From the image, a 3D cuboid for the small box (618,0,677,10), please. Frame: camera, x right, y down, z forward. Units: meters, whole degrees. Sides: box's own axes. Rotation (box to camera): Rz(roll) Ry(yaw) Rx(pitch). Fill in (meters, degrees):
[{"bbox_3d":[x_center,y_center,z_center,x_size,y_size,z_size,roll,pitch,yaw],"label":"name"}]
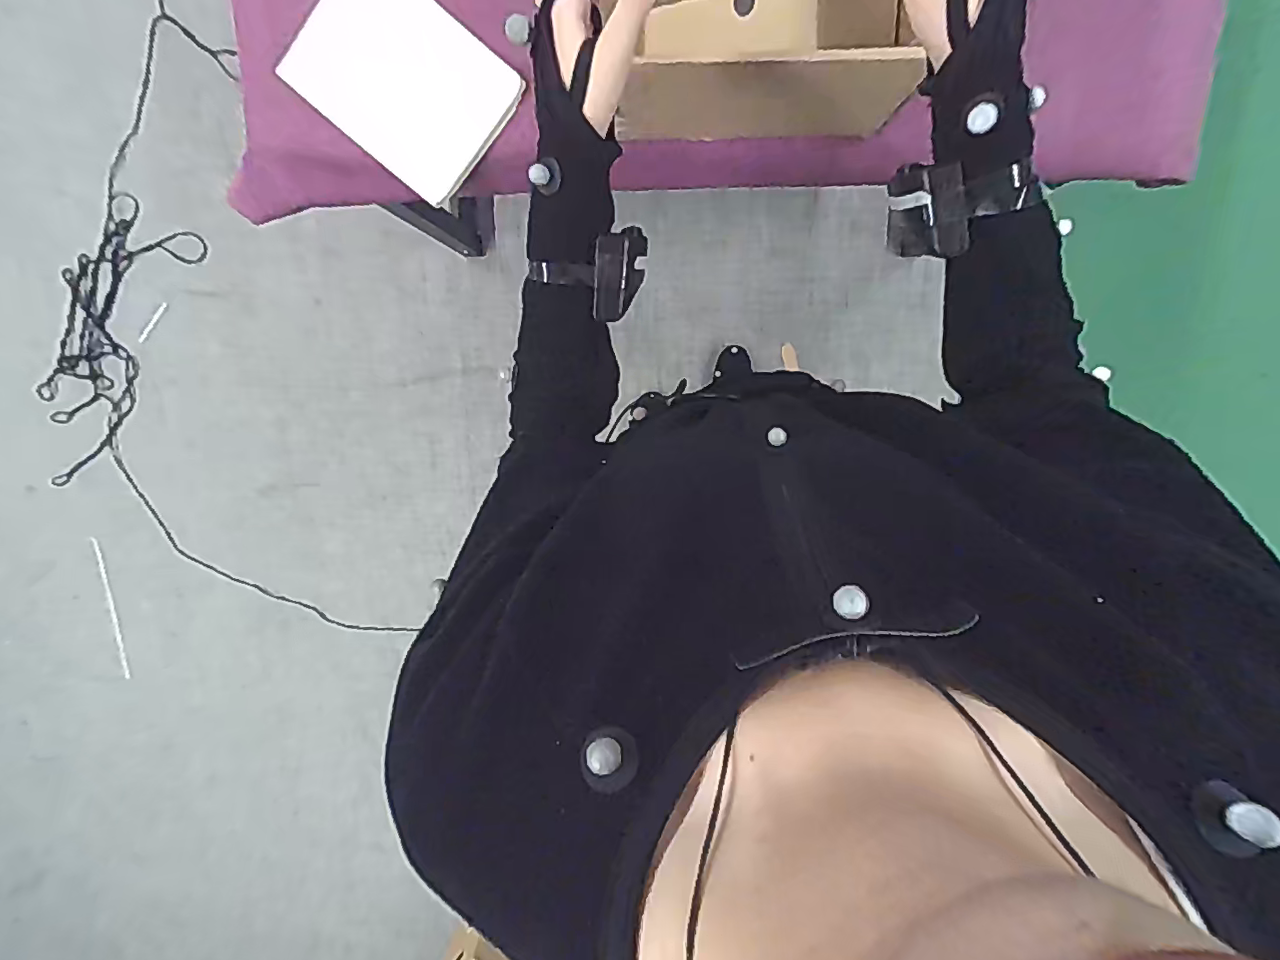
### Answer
[{"bbox_3d":[0.059,-0.401,0.314,0.179,0.176,0.168,-11,128,3],"label":"small box"}]
